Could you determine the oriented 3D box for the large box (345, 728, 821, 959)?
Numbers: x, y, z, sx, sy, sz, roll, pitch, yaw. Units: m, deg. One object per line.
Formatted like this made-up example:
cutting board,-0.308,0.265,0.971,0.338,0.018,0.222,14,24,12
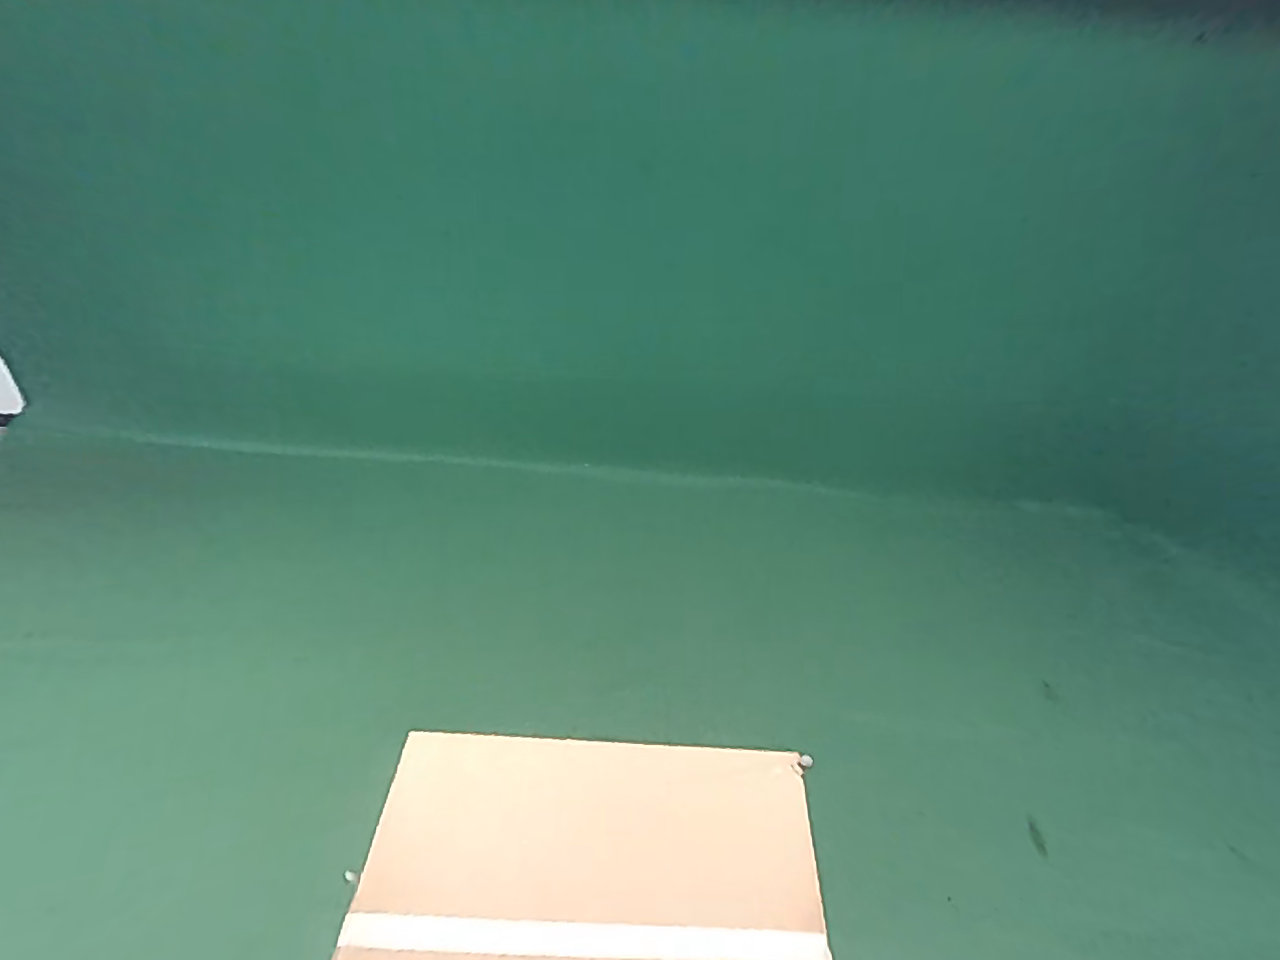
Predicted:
large box,-0.055,0.484,0.574,0.408,0.320,0.320,4,47,-2
